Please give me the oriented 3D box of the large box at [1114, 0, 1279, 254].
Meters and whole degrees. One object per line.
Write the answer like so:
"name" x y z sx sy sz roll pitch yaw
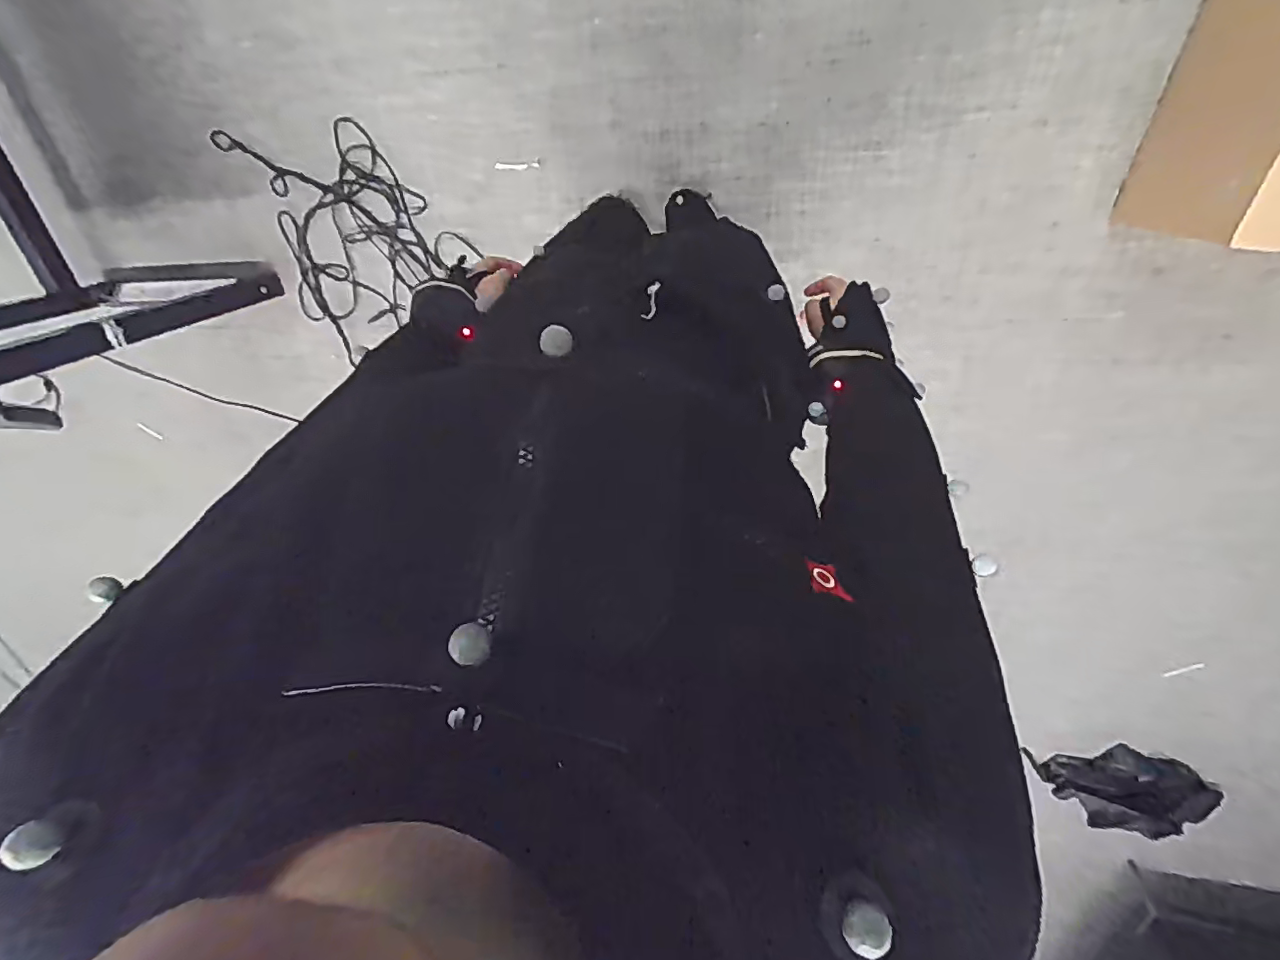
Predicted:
"large box" 0.999 -0.556 0.758 0.320 0.320 0.408 6 123 9
